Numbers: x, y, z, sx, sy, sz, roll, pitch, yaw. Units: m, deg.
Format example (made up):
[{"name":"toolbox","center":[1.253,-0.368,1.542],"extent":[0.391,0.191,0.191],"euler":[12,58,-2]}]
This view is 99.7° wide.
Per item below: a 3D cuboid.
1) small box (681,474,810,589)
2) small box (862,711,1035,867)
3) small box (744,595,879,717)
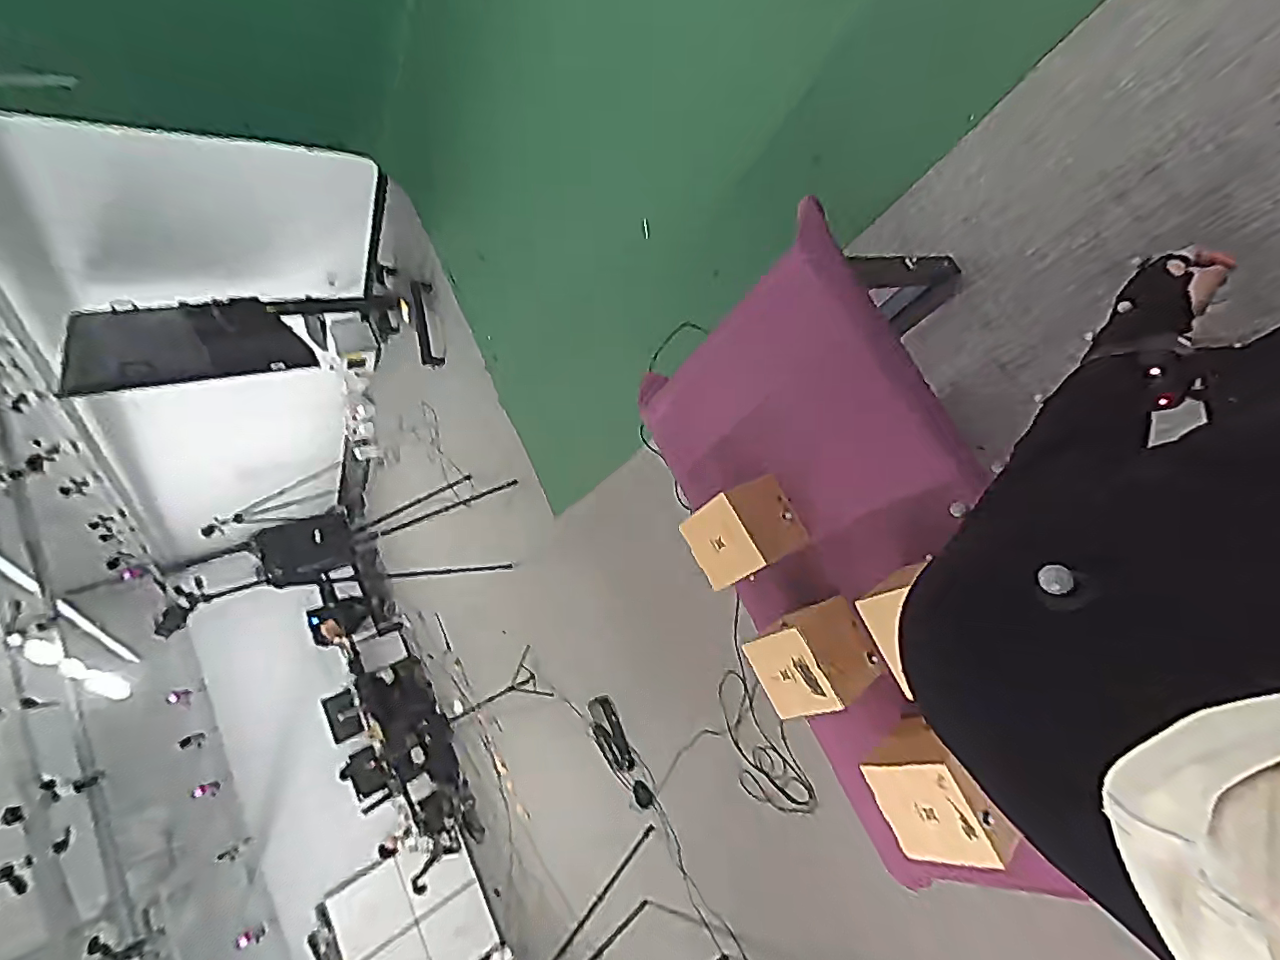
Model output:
[{"name":"small box","center":[0.226,0.108,1.161],"extent":[0.168,0.176,0.179],"euler":[61,140,13]},{"name":"small box","center":[0.536,0.526,0.942],"extent":[0.179,0.176,0.168],"euler":[-42,73,50]},{"name":"small box","center":[0.354,0.355,1.101],"extent":[0.179,0.176,0.168],"euler":[-44,70,50]}]
